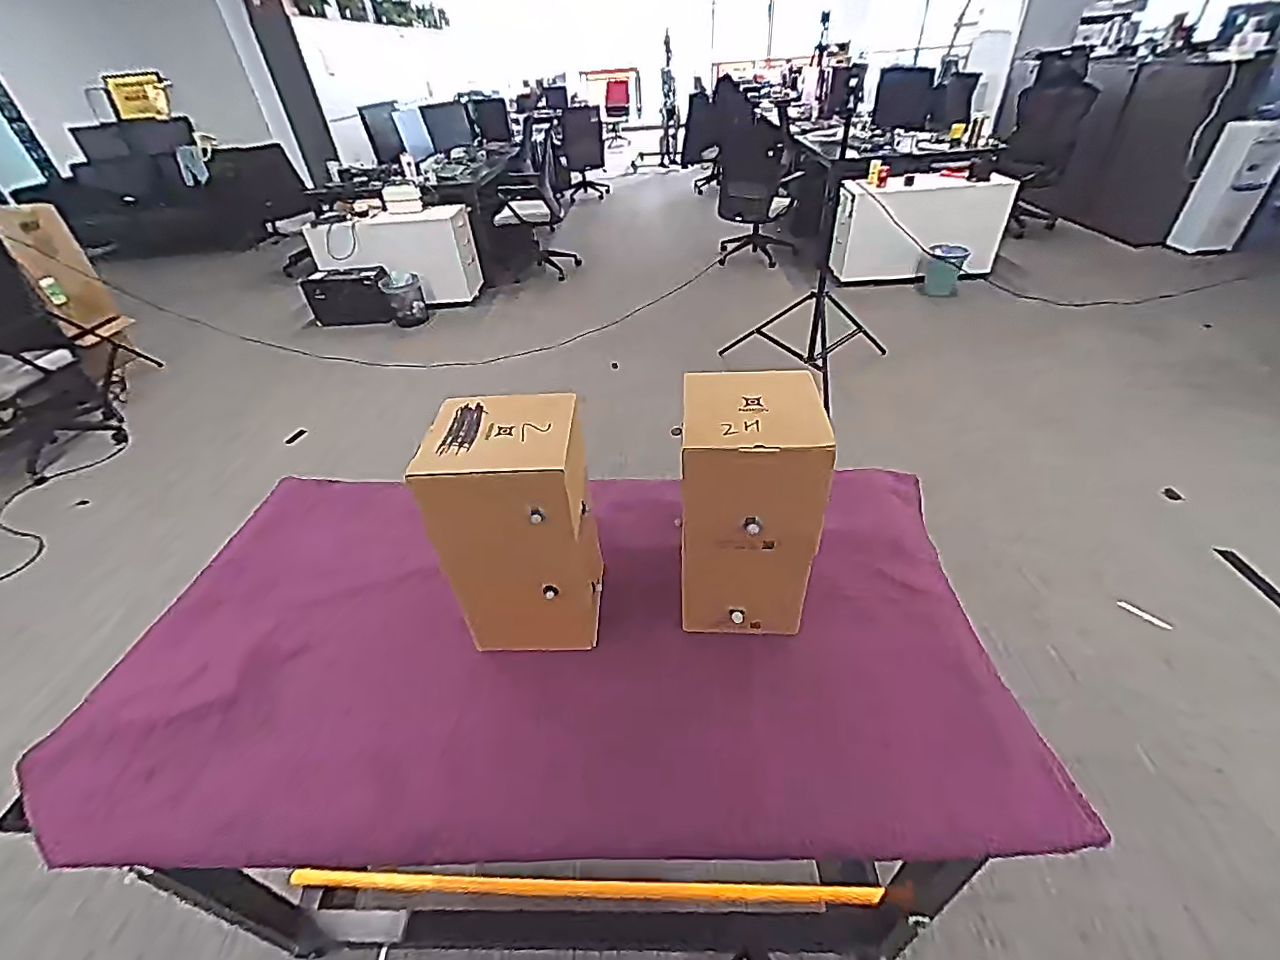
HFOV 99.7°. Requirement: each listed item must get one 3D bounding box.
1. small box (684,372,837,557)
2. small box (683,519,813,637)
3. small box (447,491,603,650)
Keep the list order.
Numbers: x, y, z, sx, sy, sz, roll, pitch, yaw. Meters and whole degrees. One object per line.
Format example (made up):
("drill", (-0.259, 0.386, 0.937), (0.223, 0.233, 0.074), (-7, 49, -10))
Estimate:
("small box", (0.141, -0.023, 0.693), (0.168, 0.176, 0.179), (-1, 39, 6))
("small box", (0.148, 0.106, 0.796), (0.168, 0.176, 0.179), (0, 39, 6))
("small box", (-0.154, 0.134, 0.794), (0.179, 0.176, 0.168), (-2, 38, 3))
